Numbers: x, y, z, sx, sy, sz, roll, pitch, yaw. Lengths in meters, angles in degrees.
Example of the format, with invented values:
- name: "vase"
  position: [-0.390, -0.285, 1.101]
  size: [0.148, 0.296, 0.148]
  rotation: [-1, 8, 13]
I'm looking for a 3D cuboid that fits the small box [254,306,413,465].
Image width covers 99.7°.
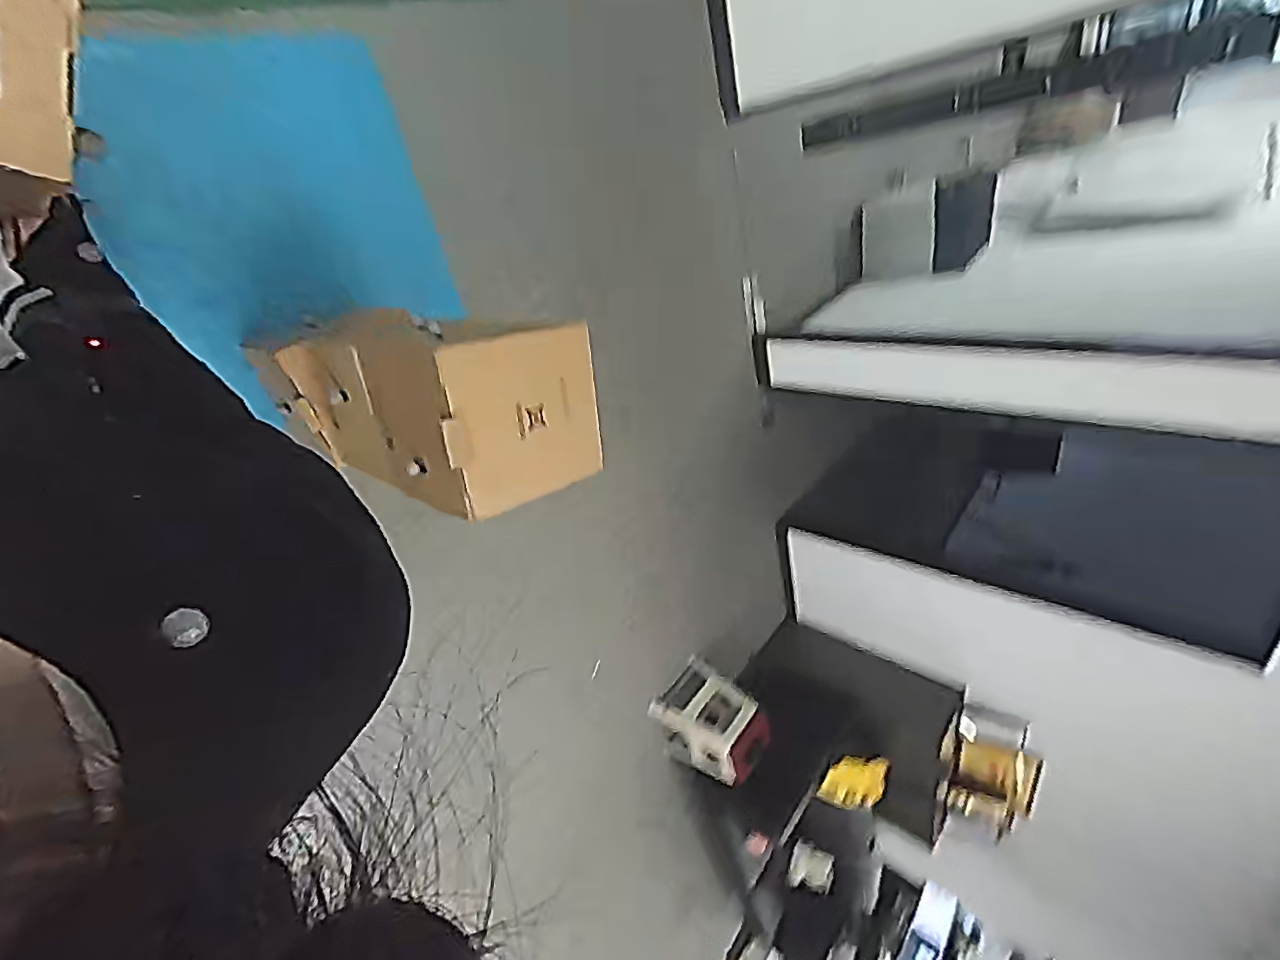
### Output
- name: "small box"
  position: [-0.417, -0.143, 0.776]
  size: [0.179, 0.176, 0.168]
  rotation: [-36, 127, -36]

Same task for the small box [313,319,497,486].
- name: "small box"
  position: [-0.286, -0.107, 0.686]
  size: [0.179, 0.176, 0.168]
  rotation: [-28, 121, -42]

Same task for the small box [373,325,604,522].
- name: "small box"
  position: [-0.163, -0.074, 0.584]
  size: [0.179, 0.176, 0.168]
  rotation: [-25, 120, -44]
